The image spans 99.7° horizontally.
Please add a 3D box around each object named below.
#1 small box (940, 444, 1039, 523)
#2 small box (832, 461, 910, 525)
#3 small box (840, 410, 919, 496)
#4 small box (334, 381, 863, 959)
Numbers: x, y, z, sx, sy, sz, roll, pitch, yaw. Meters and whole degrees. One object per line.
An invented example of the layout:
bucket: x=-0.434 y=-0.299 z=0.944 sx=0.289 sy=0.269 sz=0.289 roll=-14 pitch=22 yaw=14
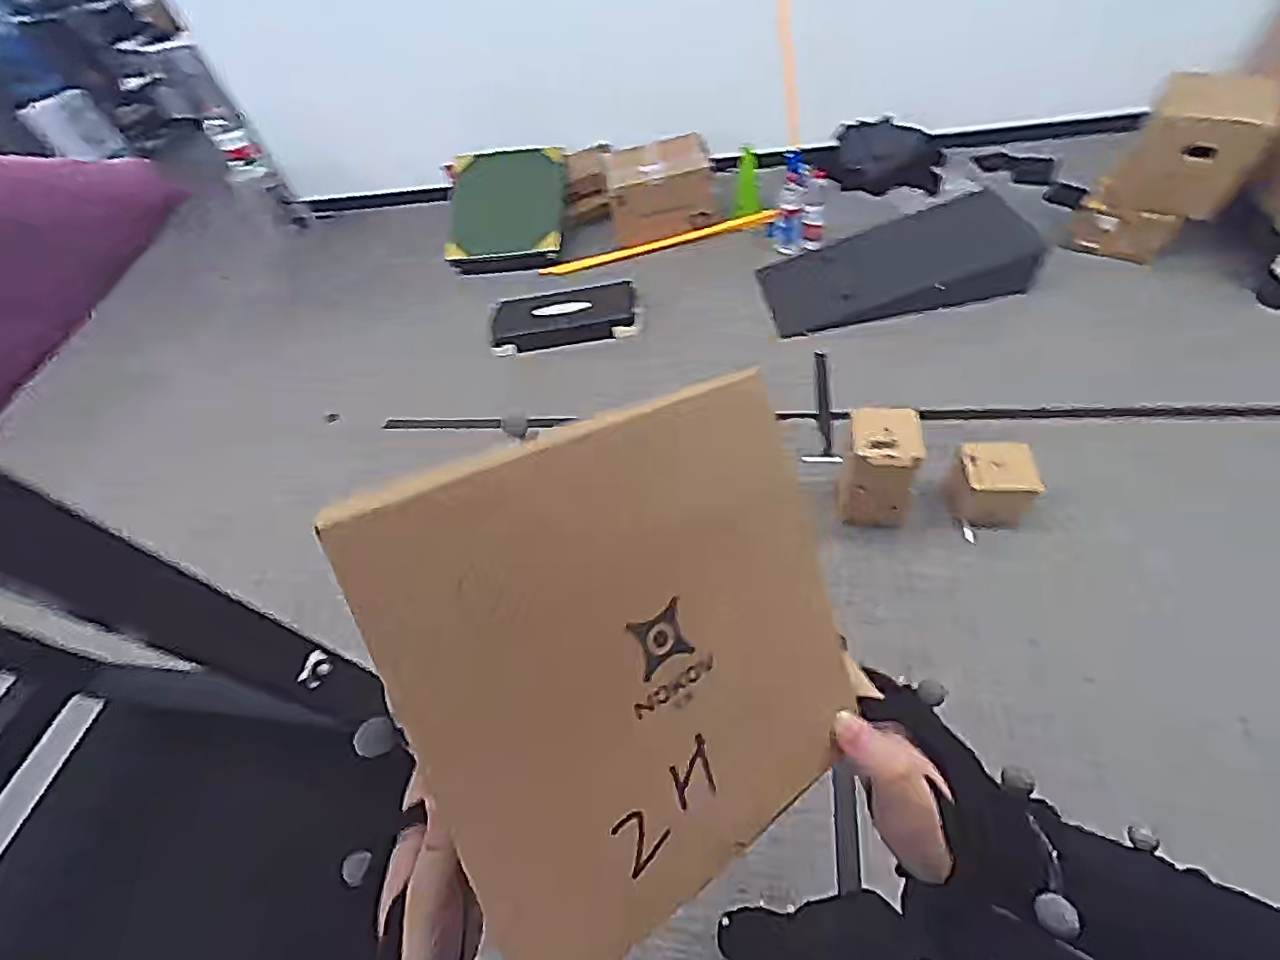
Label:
small box: x=1.000 y=0.012 z=1.563 sx=0.179 sy=0.176 sz=0.168 roll=2 pitch=53 yaw=11
small box: x=0.684 y=0.023 z=1.616 sx=0.179 sy=0.176 sz=0.168 roll=0 pitch=53 yaw=11
small box: x=0.650 y=-0.072 z=1.488 sx=0.168 sy=0.176 sz=0.179 roll=3 pitch=53 yaw=12
small box: x=-0.032 y=0.069 z=0.262 sx=0.168 sy=0.179 sz=0.176 roll=-21 pitch=8 yaw=-28
